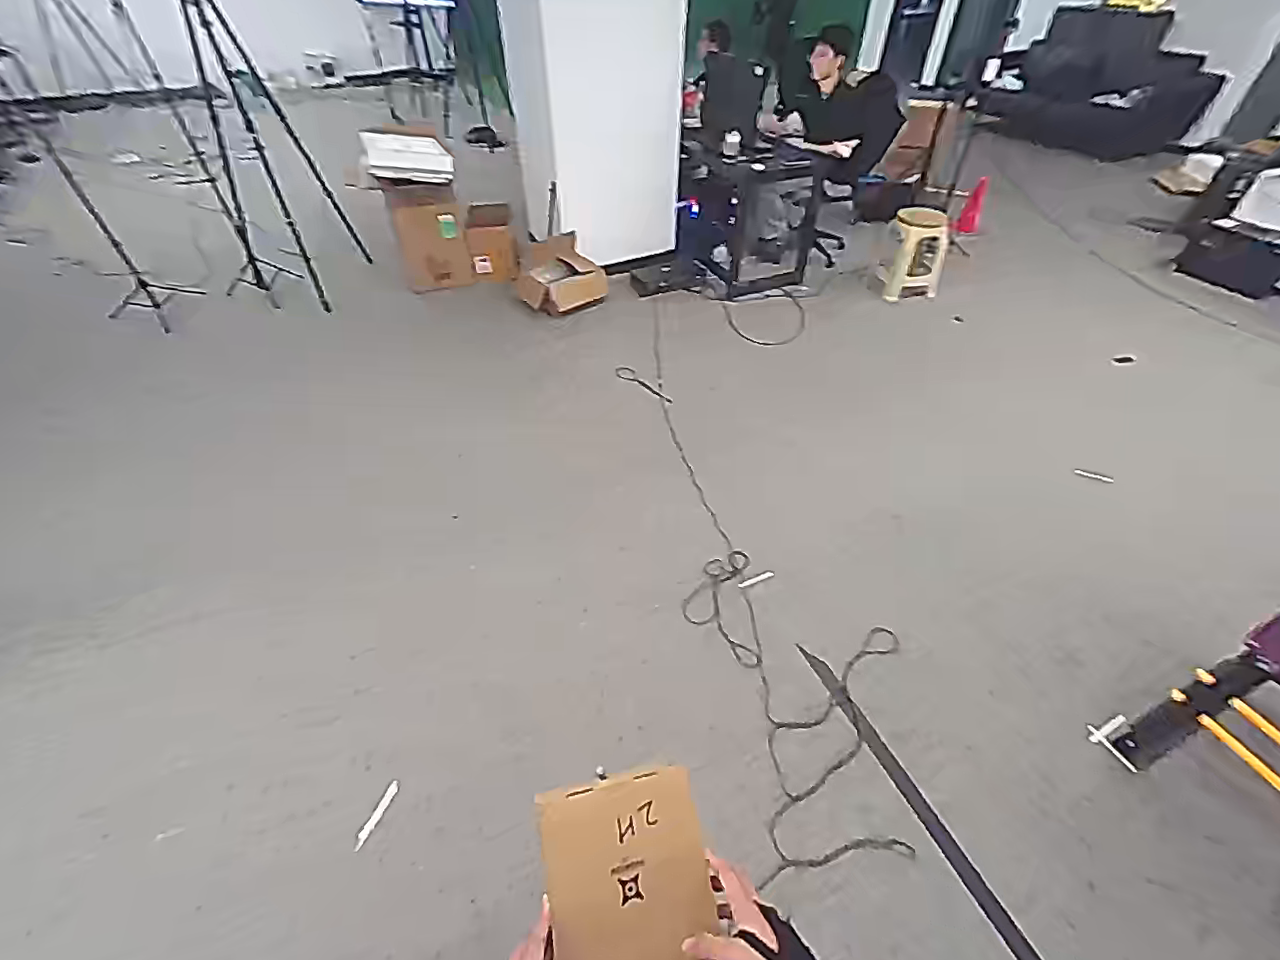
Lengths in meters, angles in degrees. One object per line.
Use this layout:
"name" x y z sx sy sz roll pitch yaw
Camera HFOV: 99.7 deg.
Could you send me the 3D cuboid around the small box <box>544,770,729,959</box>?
"small box" -0.018 0.444 0.617 0.168 0.176 0.179 -5 64 -15
